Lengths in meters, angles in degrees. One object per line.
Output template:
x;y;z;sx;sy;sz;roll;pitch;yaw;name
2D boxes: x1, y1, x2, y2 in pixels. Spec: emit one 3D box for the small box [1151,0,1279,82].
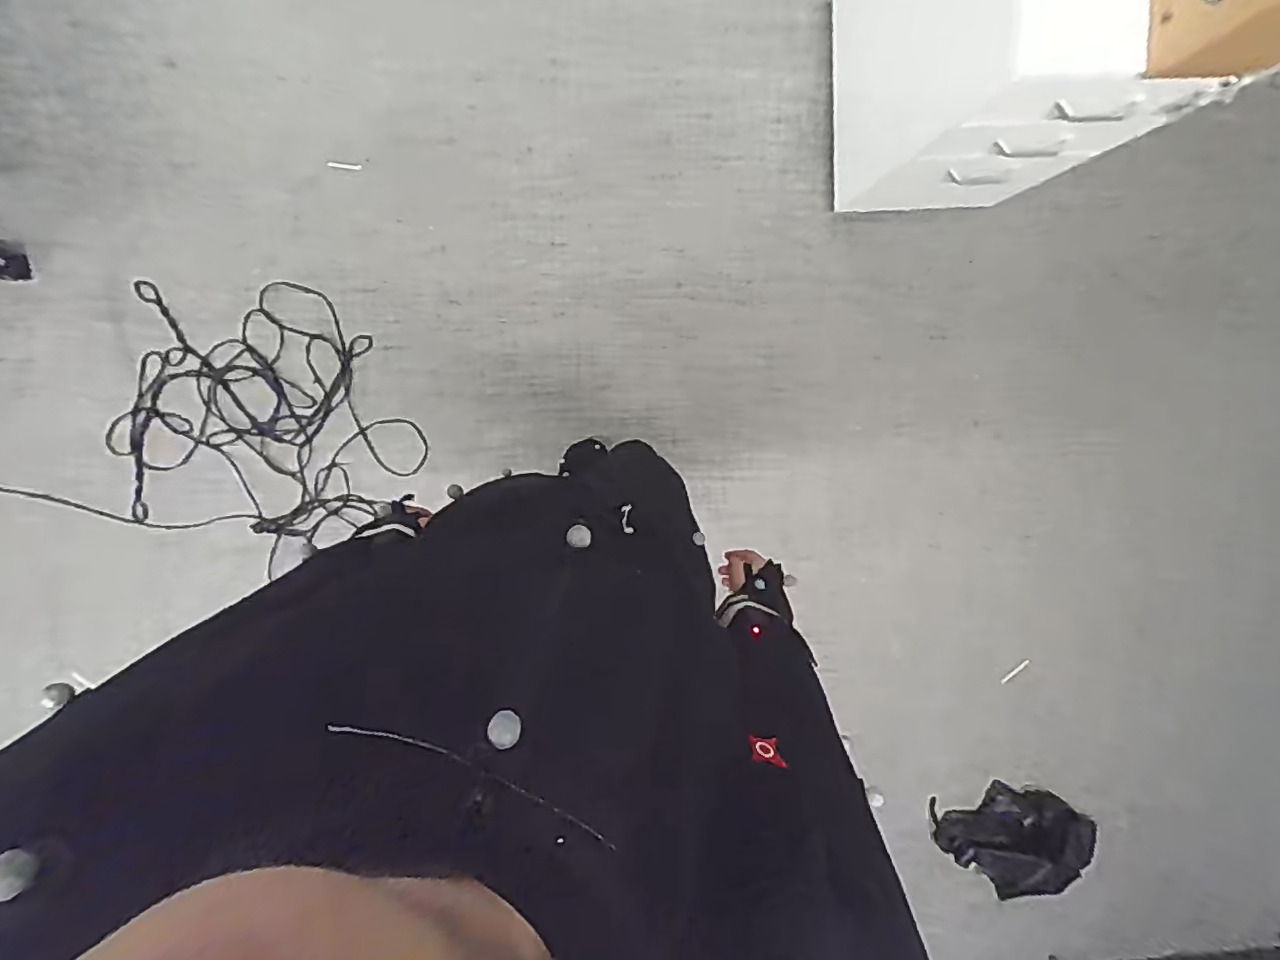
0.781;-0.618;0.657;0.179;0.176;0.168;-4;99;-5;small box
